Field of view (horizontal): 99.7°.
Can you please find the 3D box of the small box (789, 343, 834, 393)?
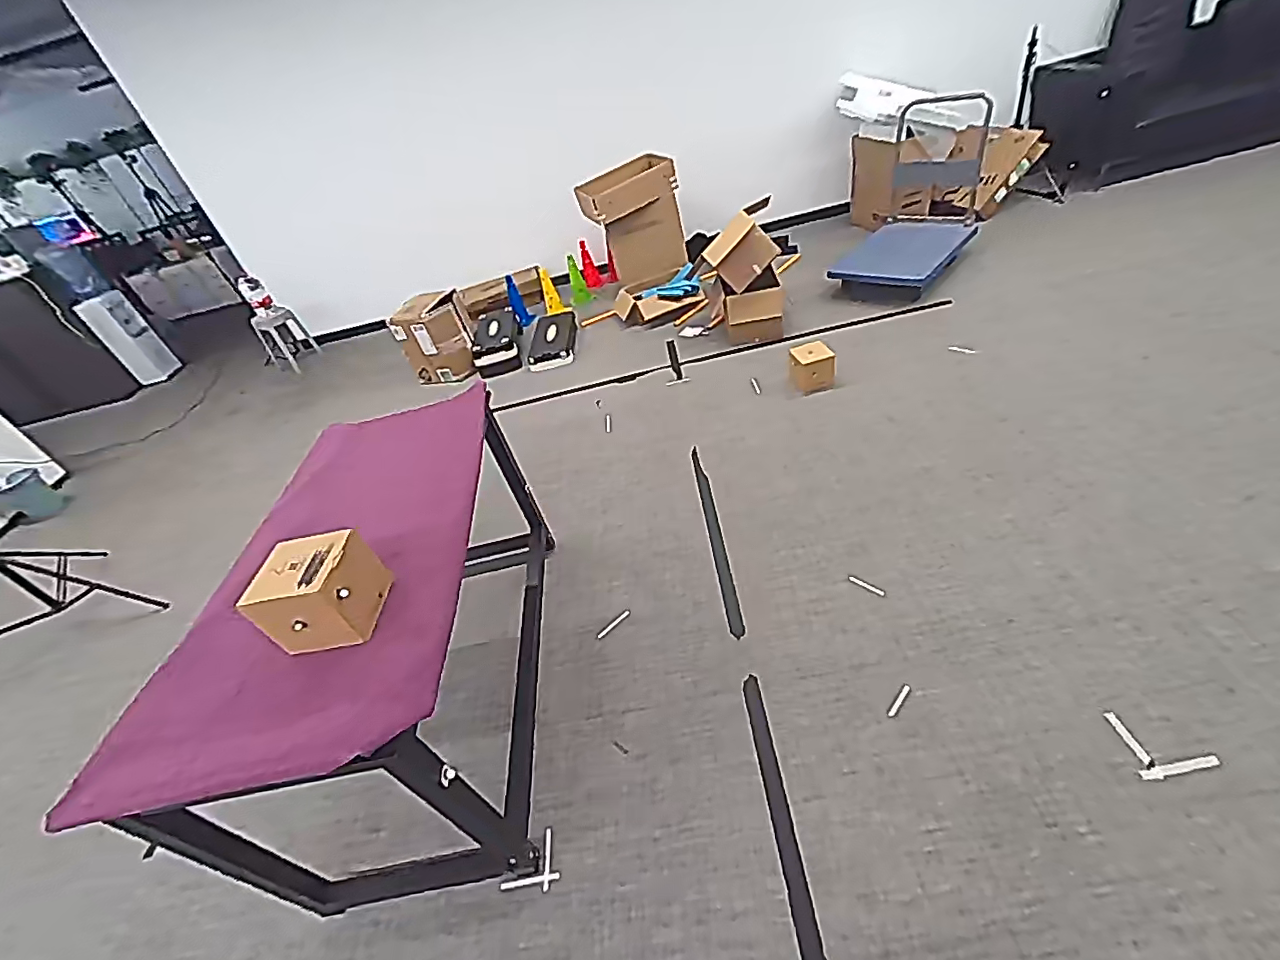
[{"bbox_3d":[0.862,-0.555,2.714,0.168,0.176,0.179,-17,38,-1],"label":"small box"}]
